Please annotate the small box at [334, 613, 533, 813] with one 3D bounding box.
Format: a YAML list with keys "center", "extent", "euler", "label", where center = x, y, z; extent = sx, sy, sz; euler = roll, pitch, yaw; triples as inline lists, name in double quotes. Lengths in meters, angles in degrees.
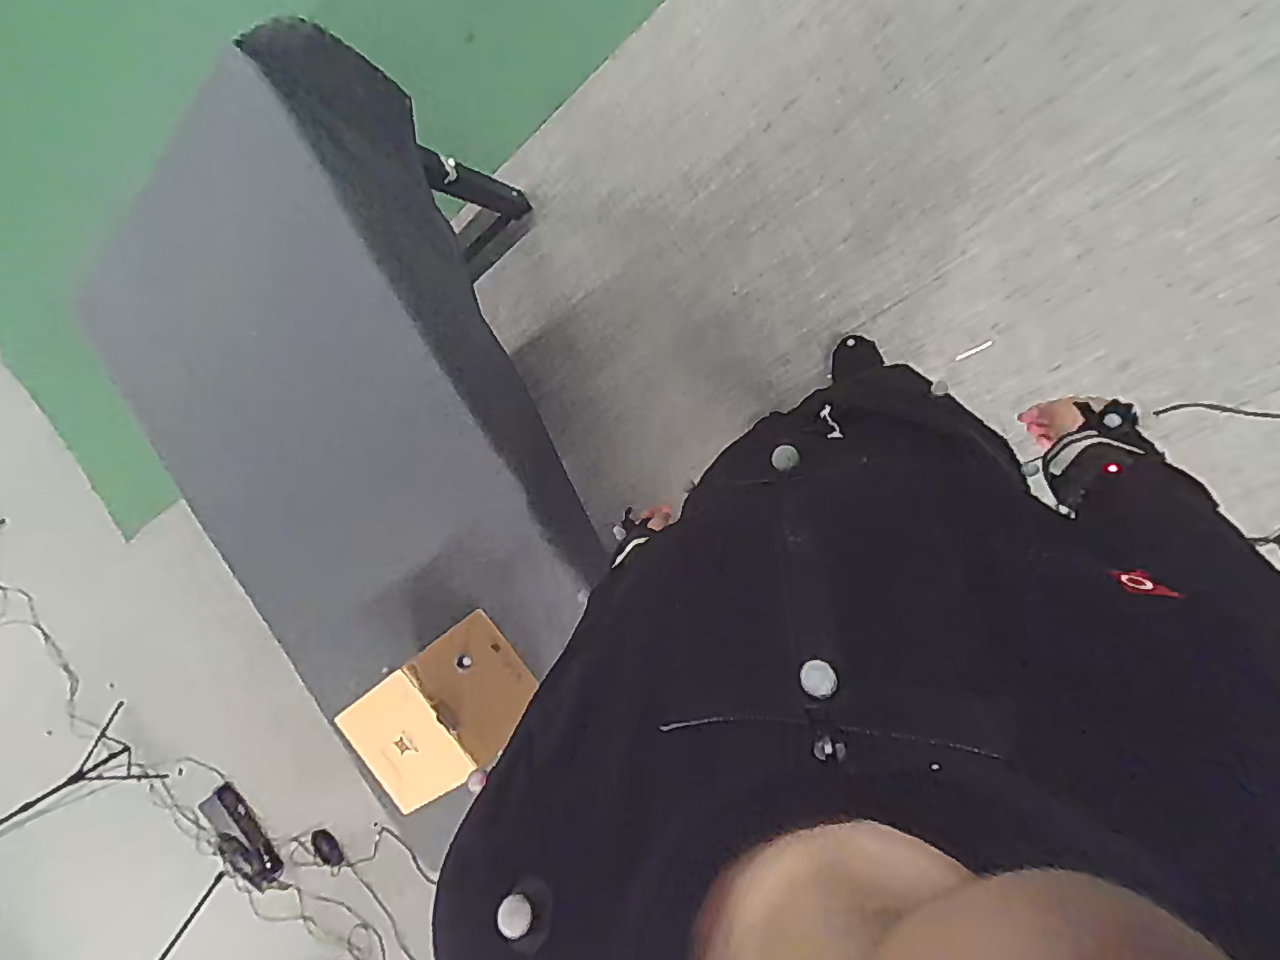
- center: [-0.278, 0.319, 0.768]
  extent: [0.179, 0.176, 0.168]
  euler: [-38, 88, 25]
  label: "small box"
